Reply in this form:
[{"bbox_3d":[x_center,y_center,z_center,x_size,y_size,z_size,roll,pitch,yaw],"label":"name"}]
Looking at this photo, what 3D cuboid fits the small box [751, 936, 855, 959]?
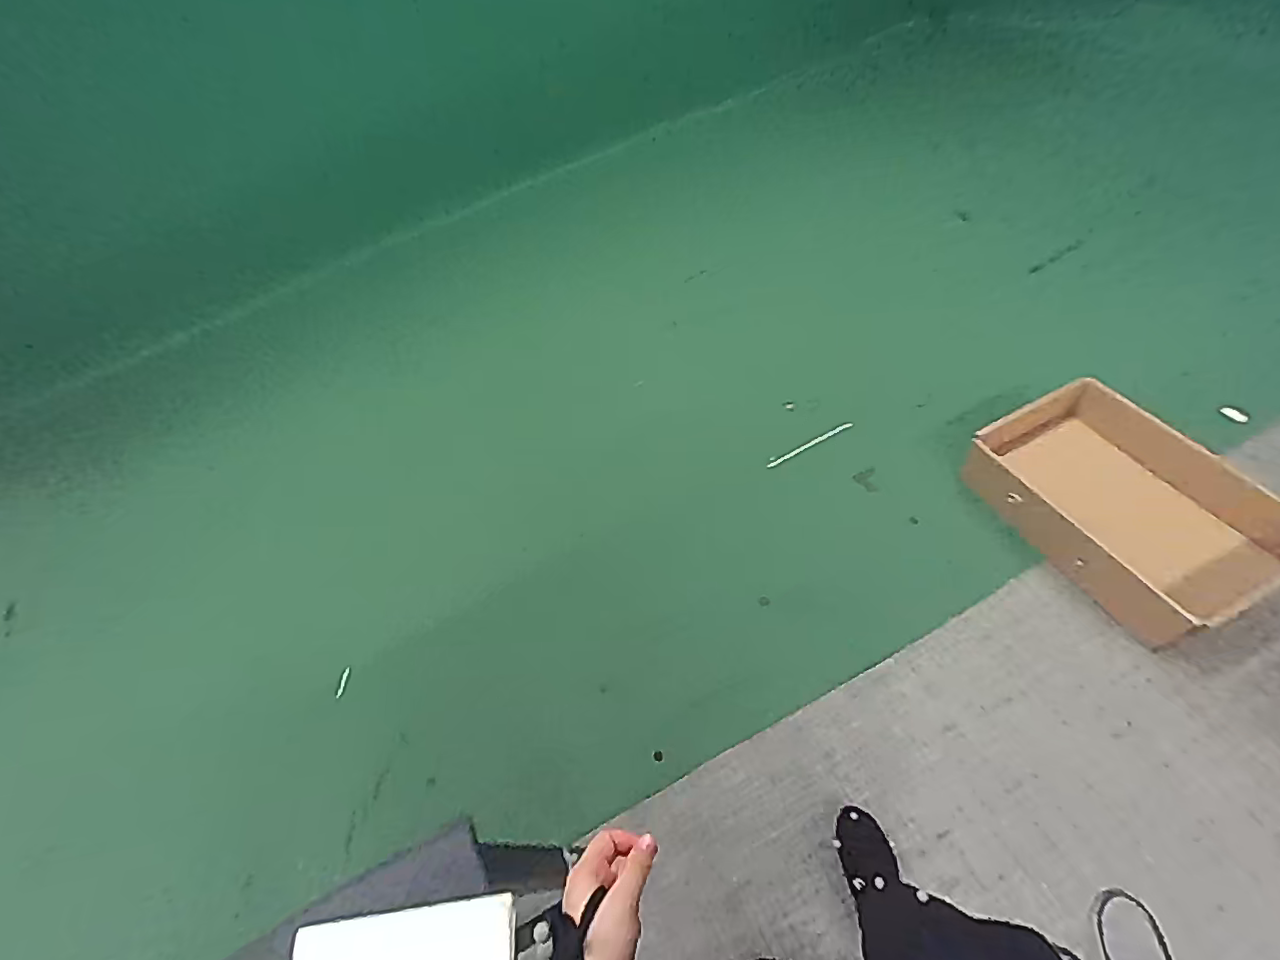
[{"bbox_3d":[0.300,0.951,0.956,0.176,0.168,0.179,12,27,-13],"label":"small box"}]
